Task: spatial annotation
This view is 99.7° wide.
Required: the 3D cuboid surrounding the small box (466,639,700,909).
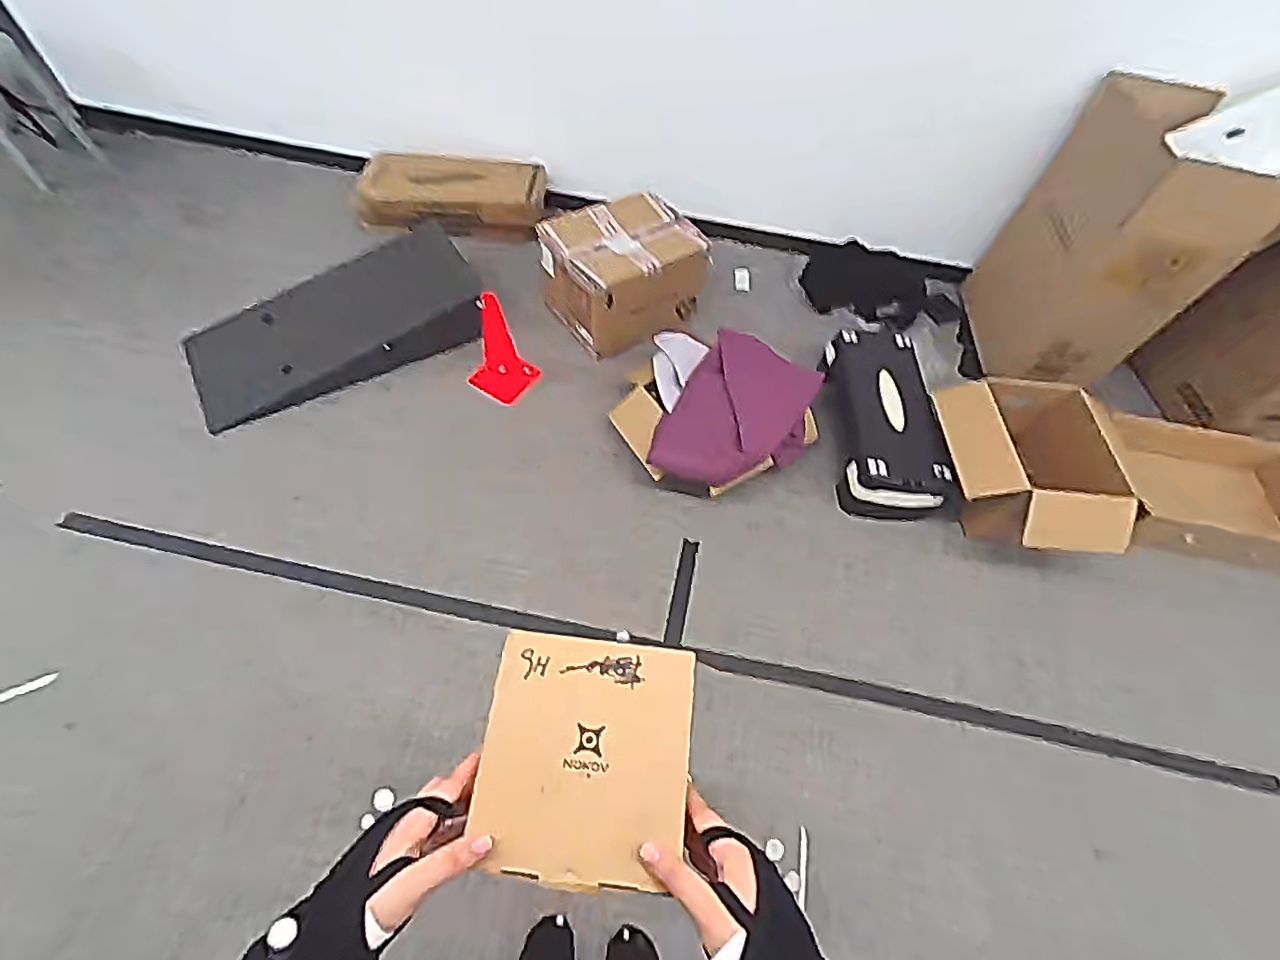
[{"bbox_3d":[-0.042,0.256,0.501,0.168,0.176,0.179,7,66,0],"label":"small box"}]
